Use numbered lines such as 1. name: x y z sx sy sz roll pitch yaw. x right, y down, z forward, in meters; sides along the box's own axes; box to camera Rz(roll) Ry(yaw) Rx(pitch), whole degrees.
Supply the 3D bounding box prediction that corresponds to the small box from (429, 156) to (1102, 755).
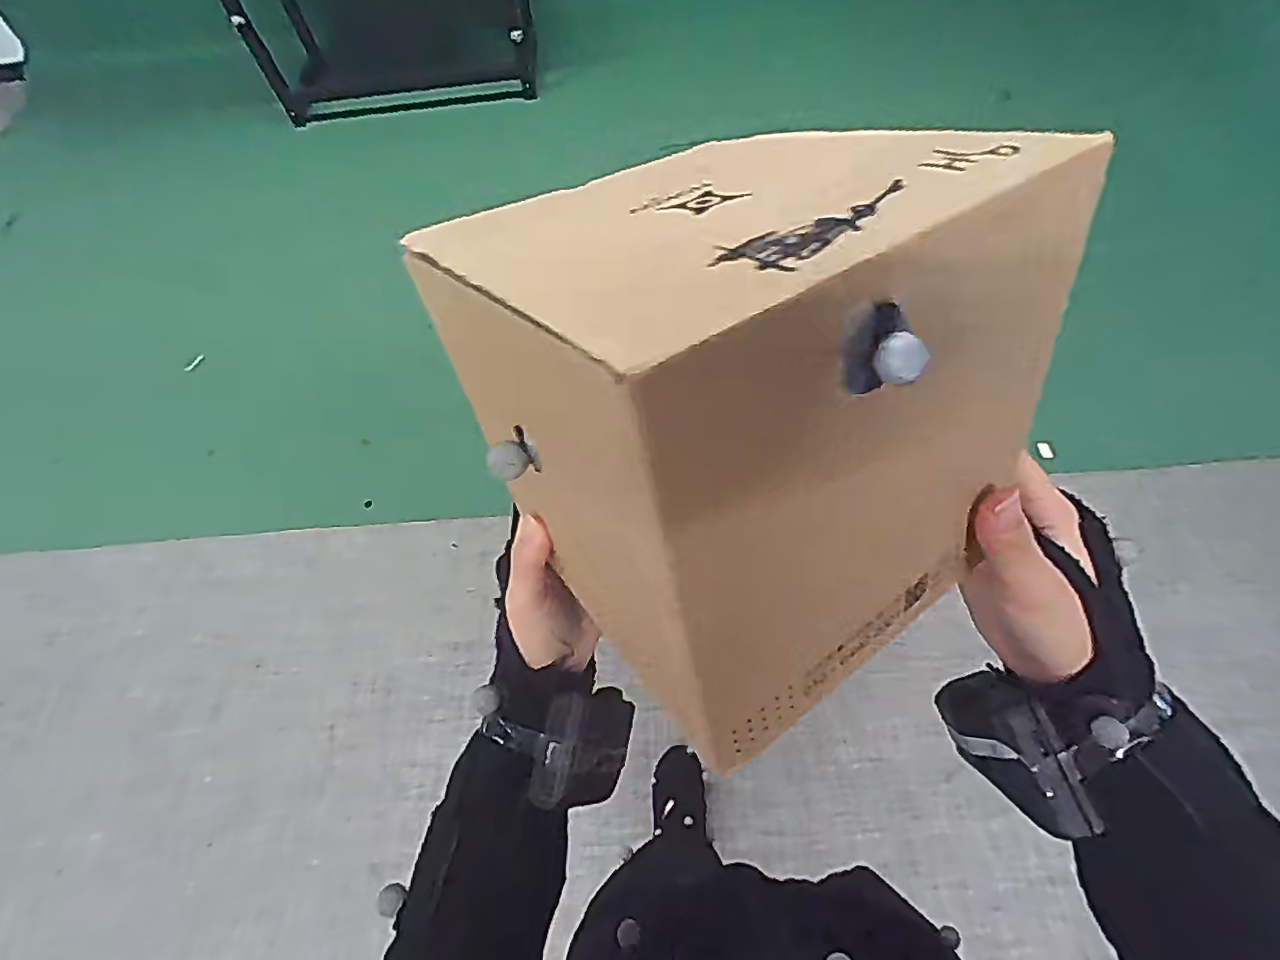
1. small box: 0.039 -0.025 0.239 0.168 0.176 0.179 -31 40 -19
